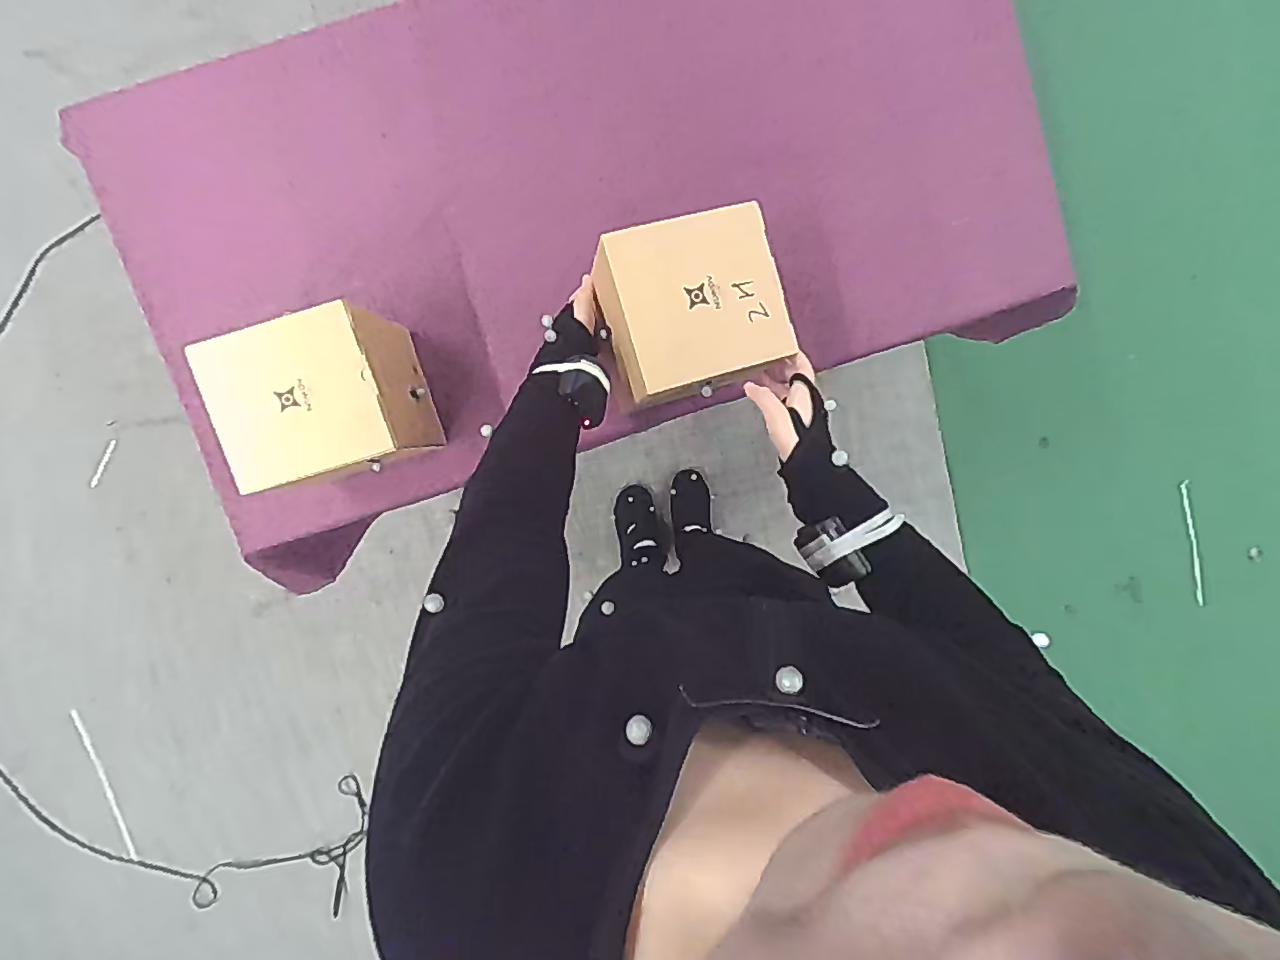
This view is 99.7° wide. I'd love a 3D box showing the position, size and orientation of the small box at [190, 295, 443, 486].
[{"bbox_3d":[-0.367,-0.099,0.650,0.179,0.176,0.168,-18,96,-1],"label":"small box"}]
